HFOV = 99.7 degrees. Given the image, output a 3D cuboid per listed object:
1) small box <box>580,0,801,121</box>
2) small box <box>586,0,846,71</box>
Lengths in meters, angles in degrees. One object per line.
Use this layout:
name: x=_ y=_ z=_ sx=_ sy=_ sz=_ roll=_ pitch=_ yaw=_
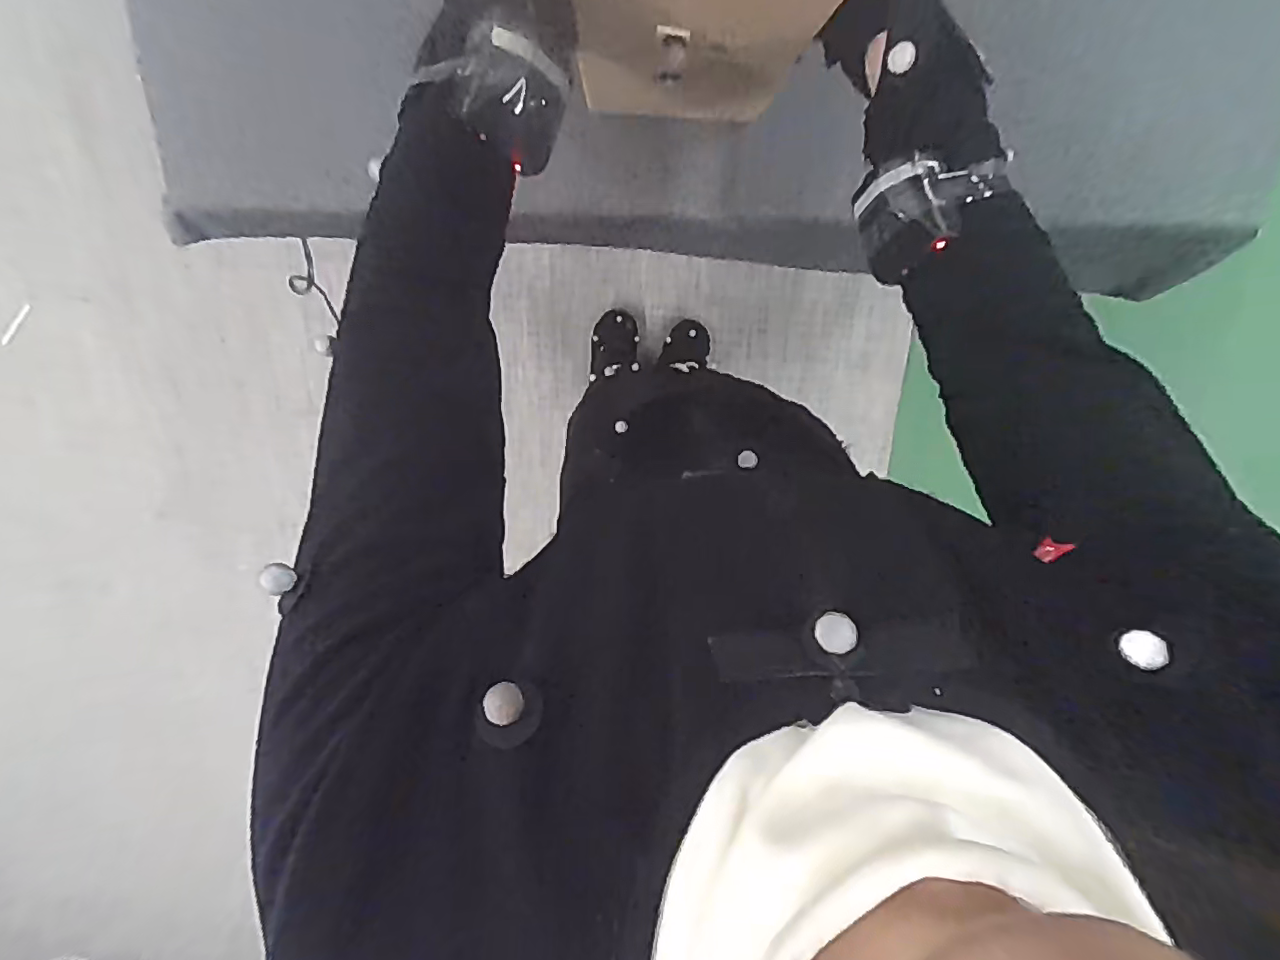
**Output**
small box: x=0.043 y=-0.434 z=0.472 sx=0.179 sy=0.176 sz=0.168 roll=2 pitch=110 yaw=-2
small box: x=0.047 y=-0.381 z=0.320 sx=0.168 sy=0.176 sz=0.179 roll=4 pitch=112 yaw=-1
